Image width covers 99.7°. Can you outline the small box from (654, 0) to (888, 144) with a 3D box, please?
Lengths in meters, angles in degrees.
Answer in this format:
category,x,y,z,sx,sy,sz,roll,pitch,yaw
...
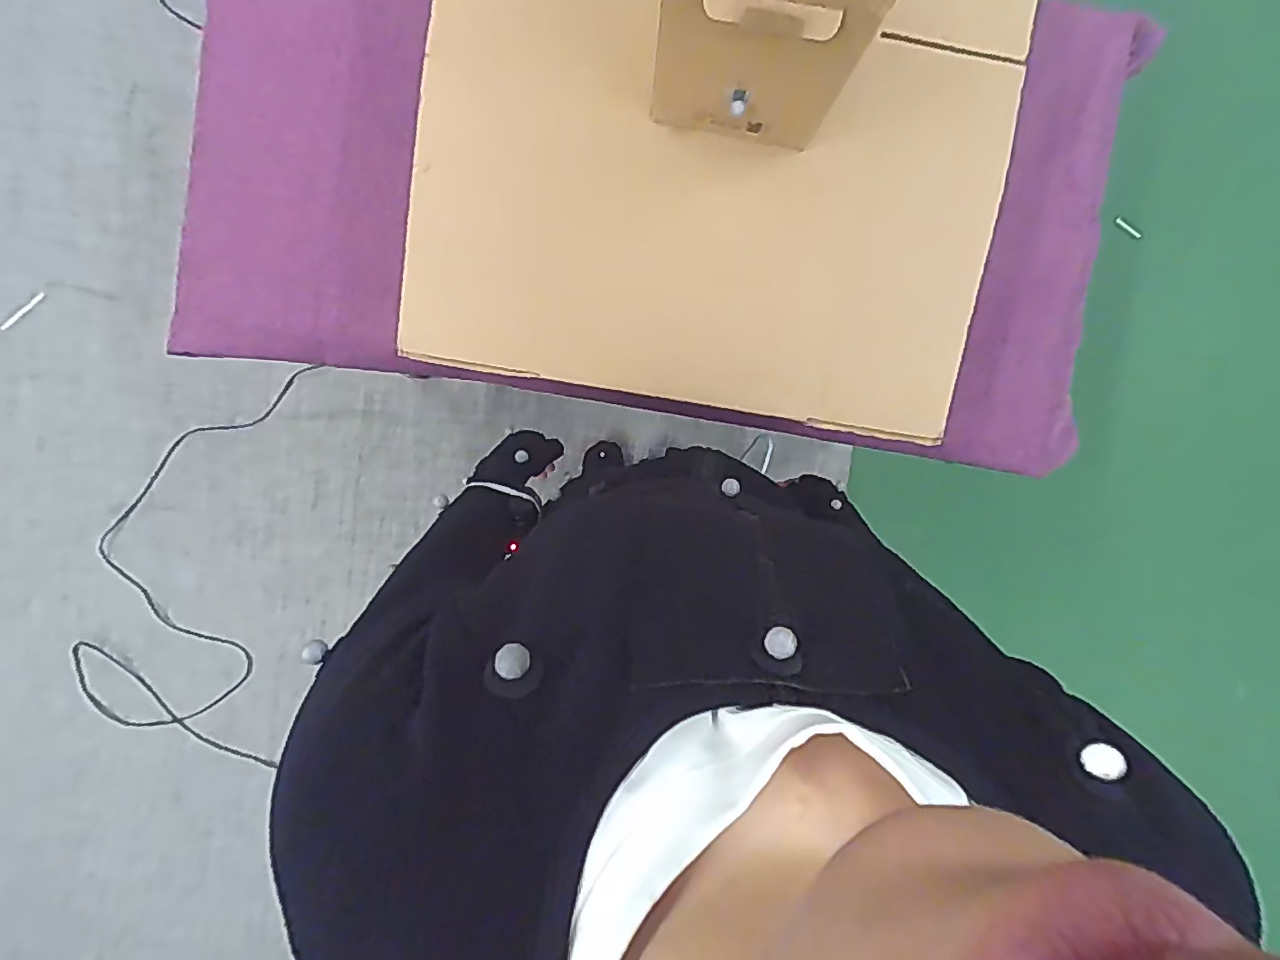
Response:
category,x,y,z,sx,sy,sz,roll,pitch,yaw
small box,0.108,-0.437,0.466,0.168,0.176,0.179,9,92,-3
